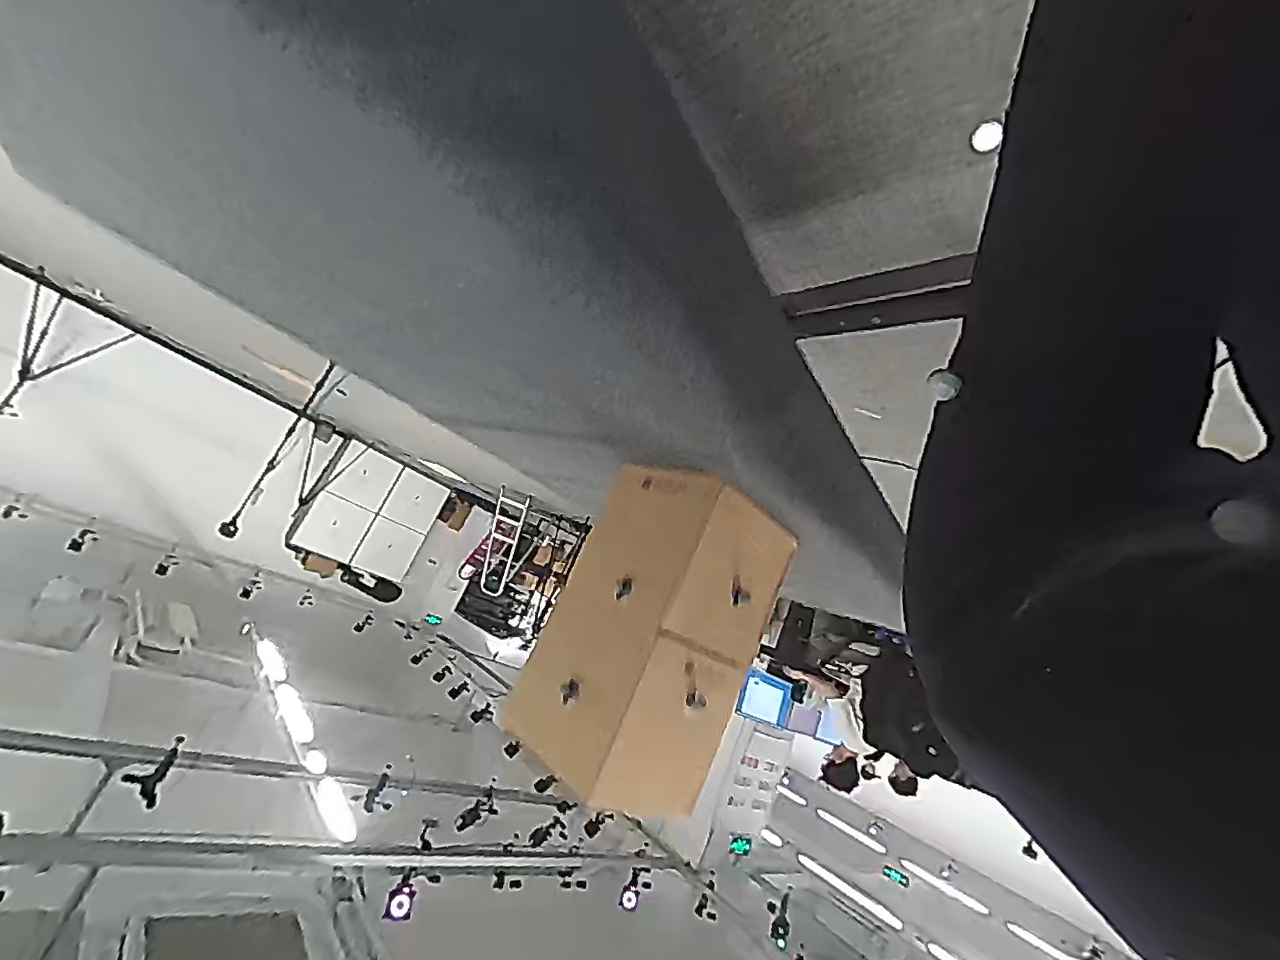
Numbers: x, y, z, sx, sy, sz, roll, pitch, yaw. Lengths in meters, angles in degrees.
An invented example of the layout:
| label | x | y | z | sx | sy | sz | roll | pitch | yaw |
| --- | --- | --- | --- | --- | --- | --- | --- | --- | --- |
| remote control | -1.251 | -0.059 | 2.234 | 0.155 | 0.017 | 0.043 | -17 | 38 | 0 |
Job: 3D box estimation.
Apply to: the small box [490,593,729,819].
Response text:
| label | x | y | z | sx | sy | sz | roll | pitch | yaw |
| --- | --- | --- | --- | --- | --- | --- | --- | --- | --- |
| small box | -0.031 | 0.245 | 0.614 | 0.179 | 0.176 | 0.168 | 9 | 159 | 48 |

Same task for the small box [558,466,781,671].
| label | x | y | z | sx | sy | sz | roll | pitch | yaw |
| --- | --- | --- | --- | --- | --- | --- | --- | --- | --- |
| small box | 0.042 | 0.101 | 0.650 | 0.168 | 0.176 | 0.179 | 9 | 159 | 49 |
